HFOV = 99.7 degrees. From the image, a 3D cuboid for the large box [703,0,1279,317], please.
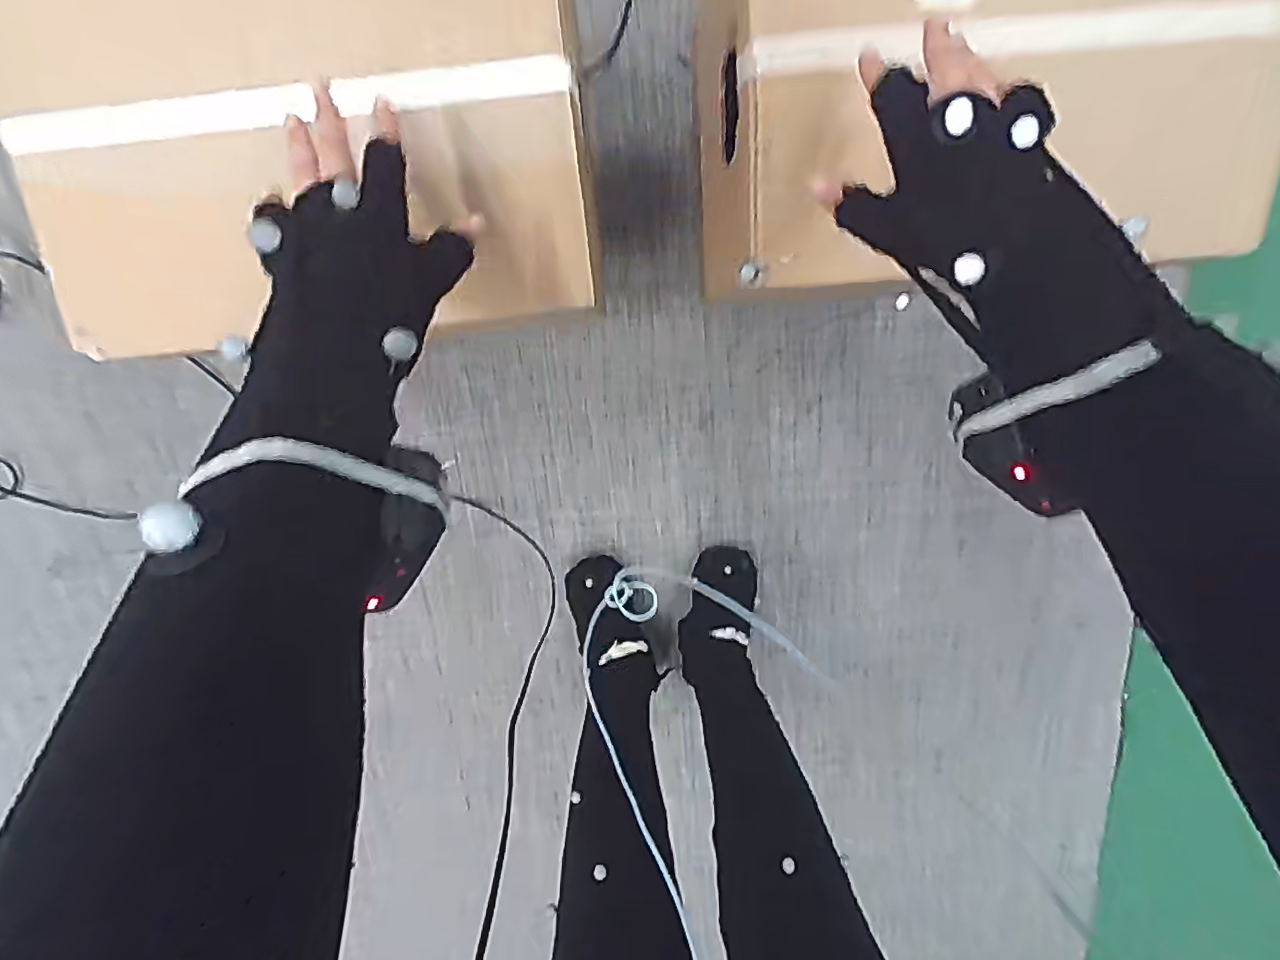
[{"bbox_3d":[0.287,-0.347,0.567,0.408,0.320,0.320,-3,104,0],"label":"large box"}]
